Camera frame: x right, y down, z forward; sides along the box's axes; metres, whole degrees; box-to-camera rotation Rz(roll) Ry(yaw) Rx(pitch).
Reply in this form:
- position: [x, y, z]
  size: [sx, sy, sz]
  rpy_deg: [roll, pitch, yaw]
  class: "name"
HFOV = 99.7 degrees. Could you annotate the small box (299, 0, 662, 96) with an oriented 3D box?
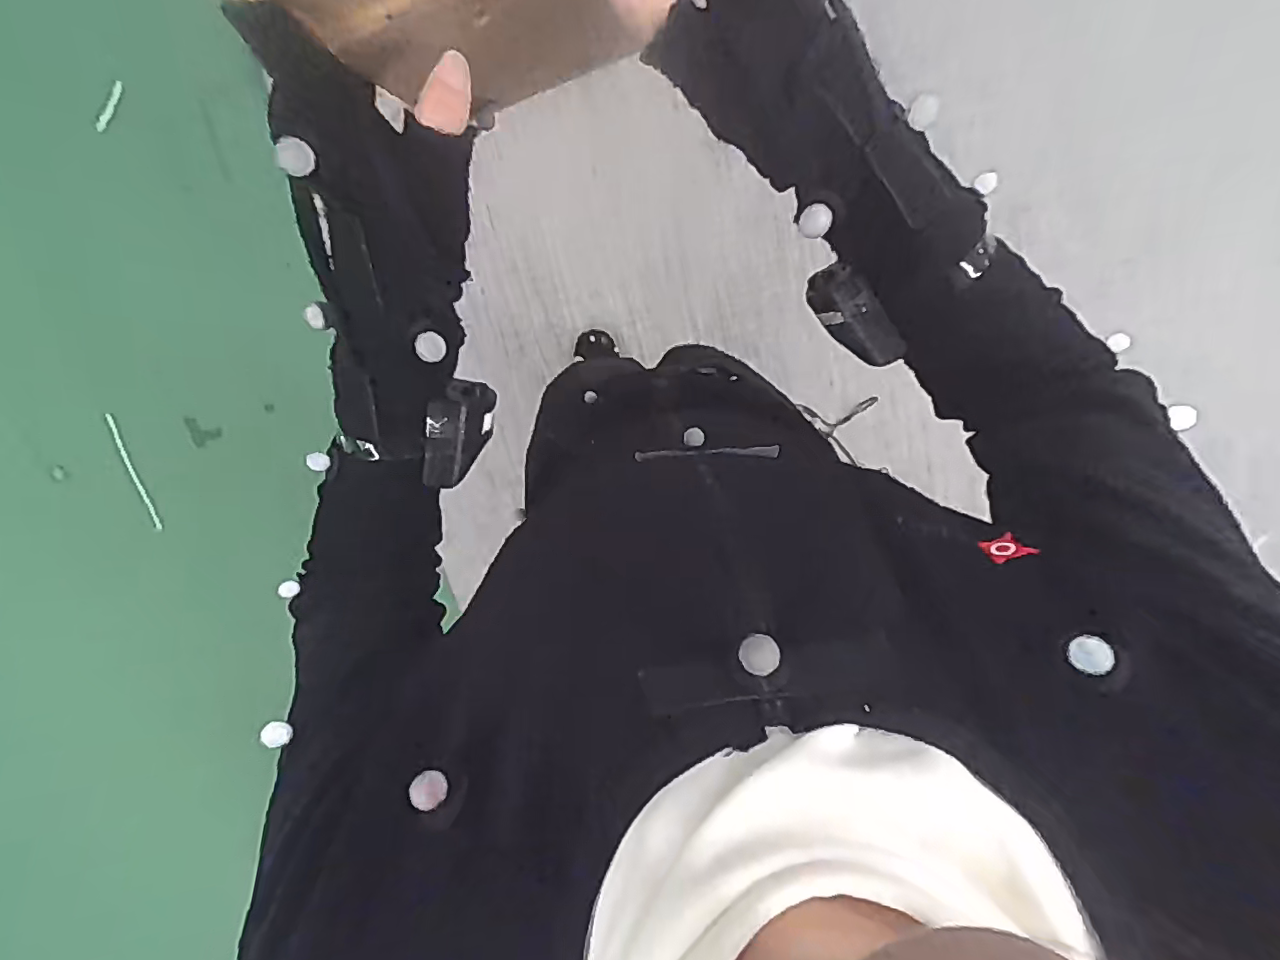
- position: [-0.085, -0.317, 0.258]
  size: [0.168, 0.176, 0.179]
  rpy_deg: [-17, 110, 6]
  class: "small box"
